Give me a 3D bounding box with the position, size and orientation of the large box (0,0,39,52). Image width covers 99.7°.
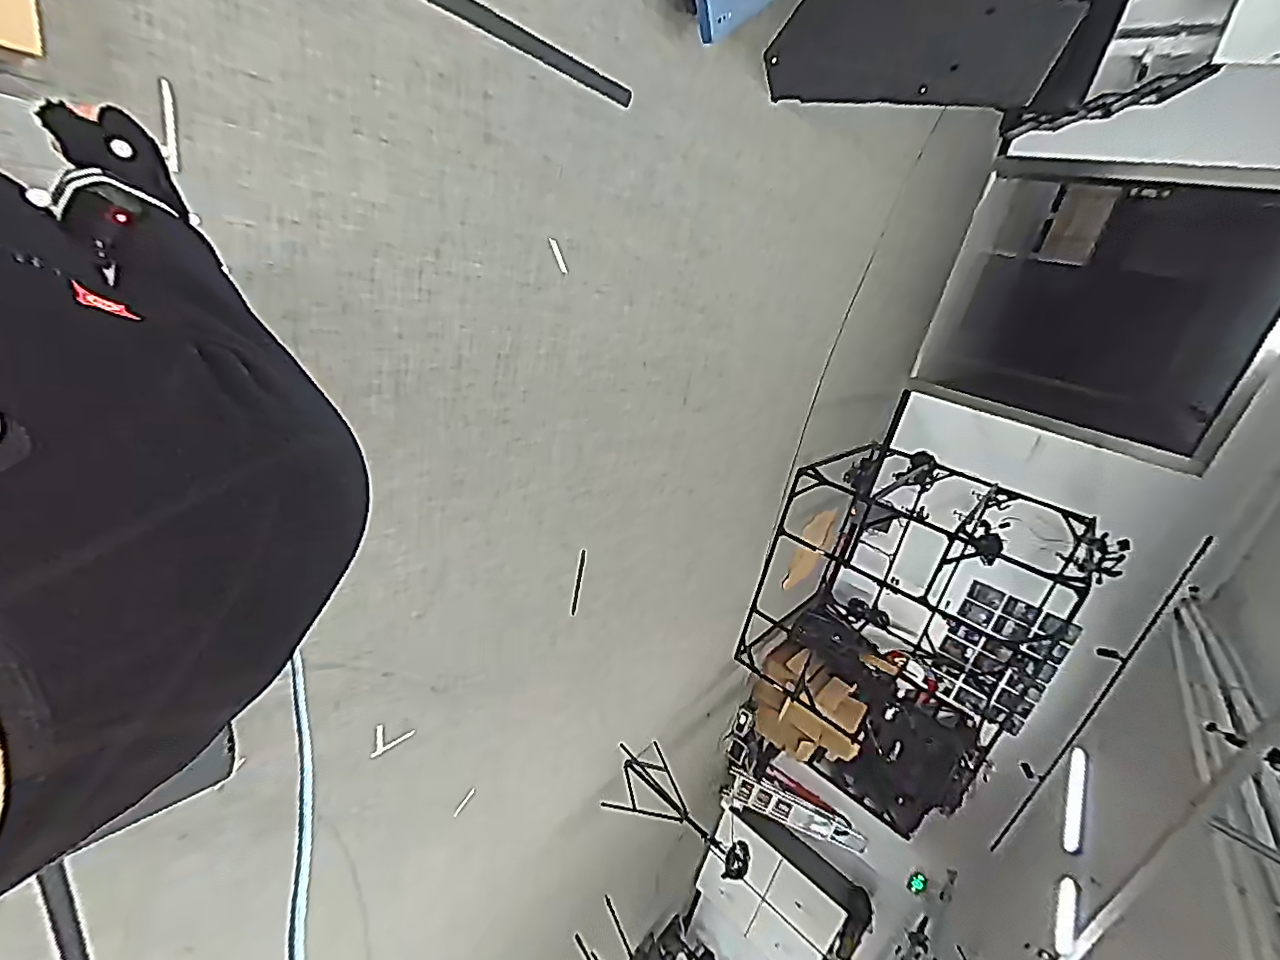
[{"bbox_3d":[-1.004,-0.734,0.588,0.408,0.320,0.320,-15,126,-50],"label":"large box"}]
